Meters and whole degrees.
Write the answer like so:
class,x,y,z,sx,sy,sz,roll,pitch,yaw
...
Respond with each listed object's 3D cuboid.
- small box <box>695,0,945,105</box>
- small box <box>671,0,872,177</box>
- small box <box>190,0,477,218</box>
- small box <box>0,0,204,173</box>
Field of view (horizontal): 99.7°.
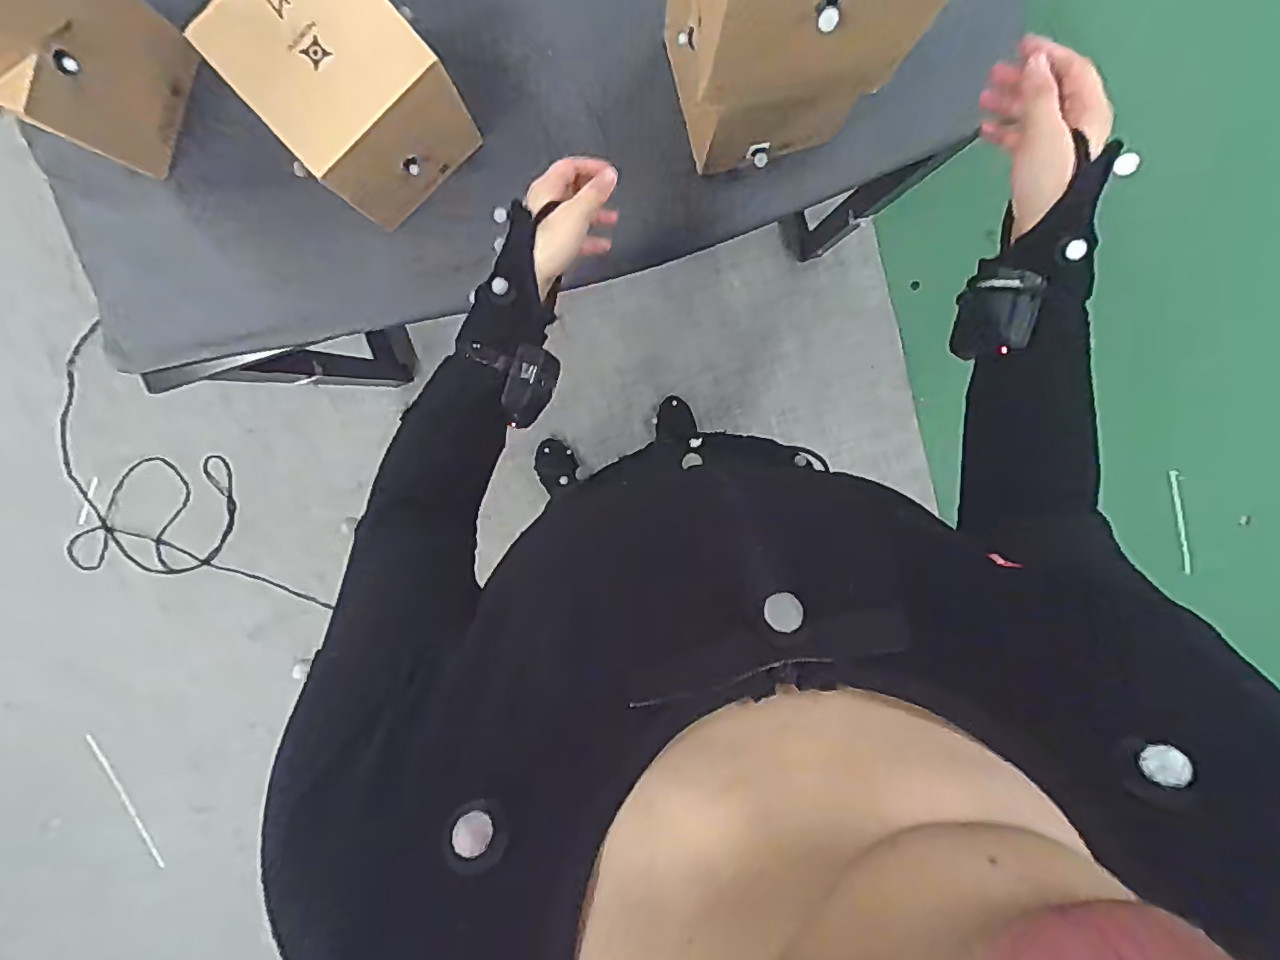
class,x,y,z,sx,sy,sz,roll,pitch,yaw
small box,0.140,-0.436,0.431,0.179,0.176,0.168,-5,98,1
small box,0.134,-0.472,0.590,0.168,0.176,0.179,-15,98,2
small box,-0.308,-0.418,0.590,0.168,0.176,0.179,-42,96,4
small box,-0.633,-0.467,0.578,0.179,0.176,0.168,23,98,-5
